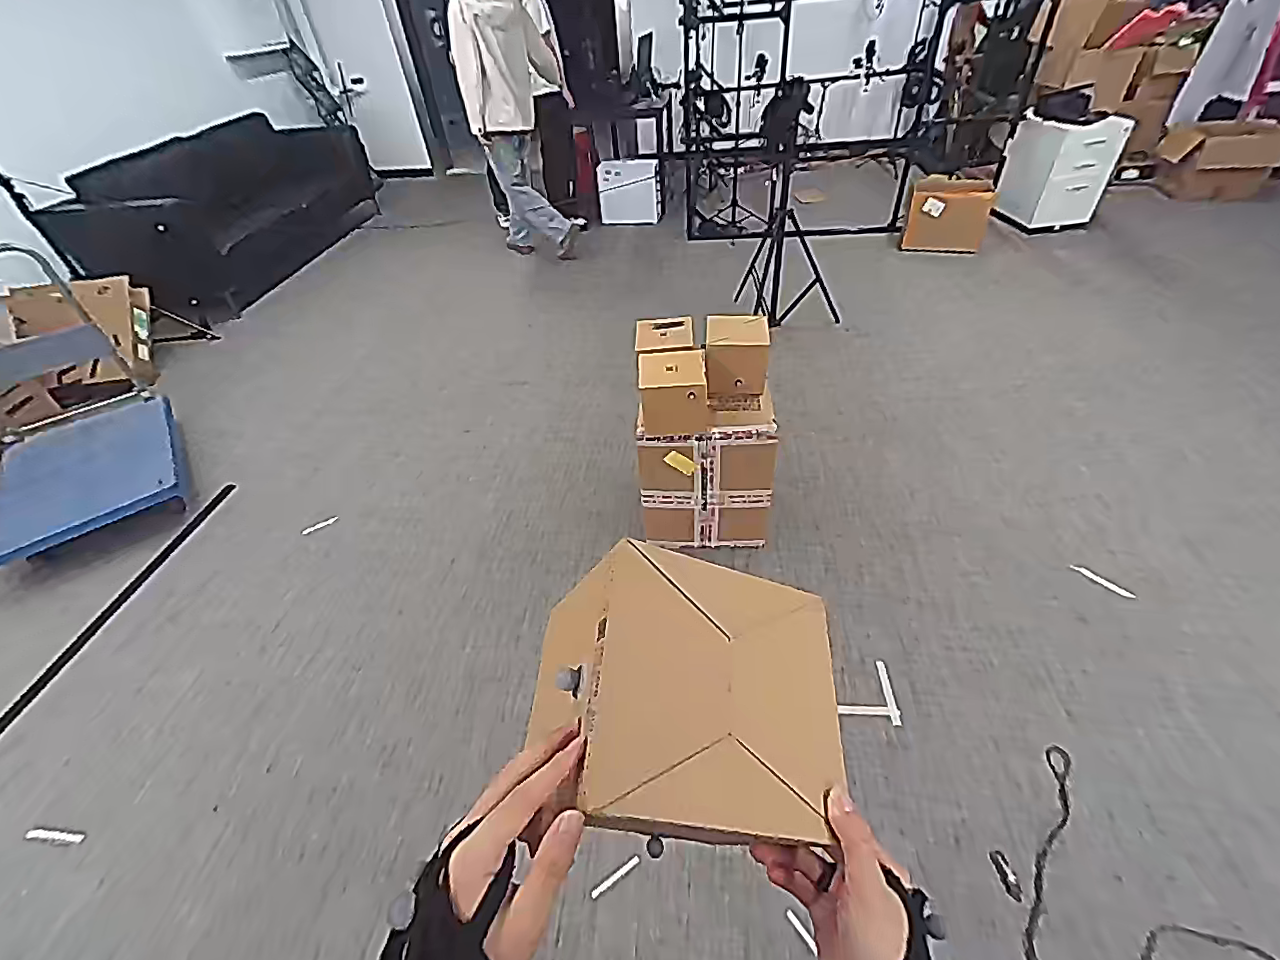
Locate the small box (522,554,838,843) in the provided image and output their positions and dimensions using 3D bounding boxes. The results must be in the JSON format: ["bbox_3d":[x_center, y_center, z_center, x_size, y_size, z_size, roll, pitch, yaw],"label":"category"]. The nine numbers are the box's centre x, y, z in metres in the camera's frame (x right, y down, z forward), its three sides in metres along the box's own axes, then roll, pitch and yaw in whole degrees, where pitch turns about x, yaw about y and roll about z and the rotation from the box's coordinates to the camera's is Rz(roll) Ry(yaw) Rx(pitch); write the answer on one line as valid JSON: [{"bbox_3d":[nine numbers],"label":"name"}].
[{"bbox_3d":[0.027,0.179,0.424,0.179,0.176,0.168,20,52,-18],"label":"small box"}]
